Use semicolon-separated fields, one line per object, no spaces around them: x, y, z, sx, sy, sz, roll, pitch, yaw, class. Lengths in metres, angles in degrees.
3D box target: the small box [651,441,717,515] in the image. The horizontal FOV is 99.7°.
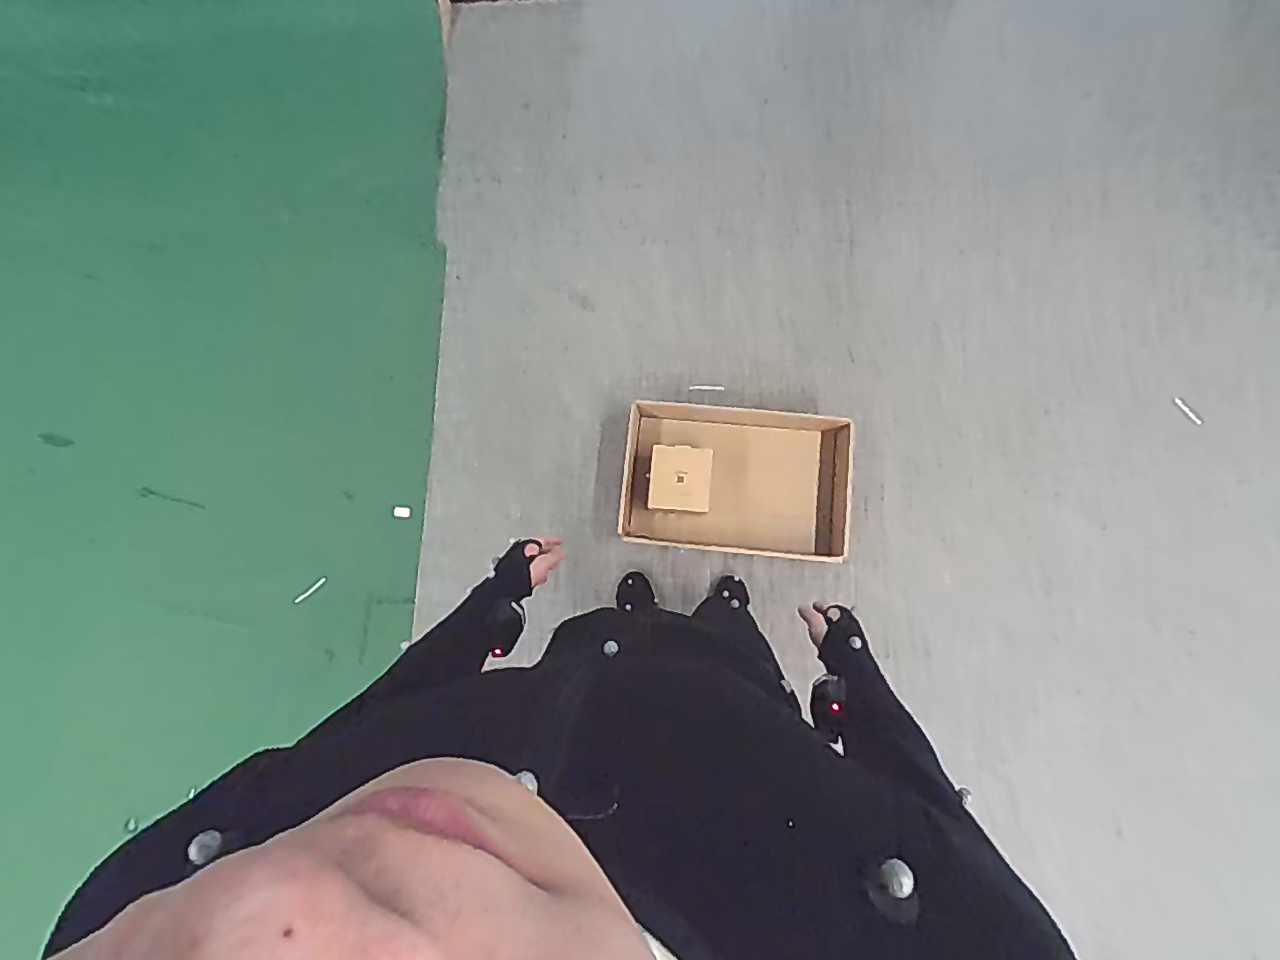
0.122;-0.002;1.520;0.168;0.176;0.179;5;83;5;small box
